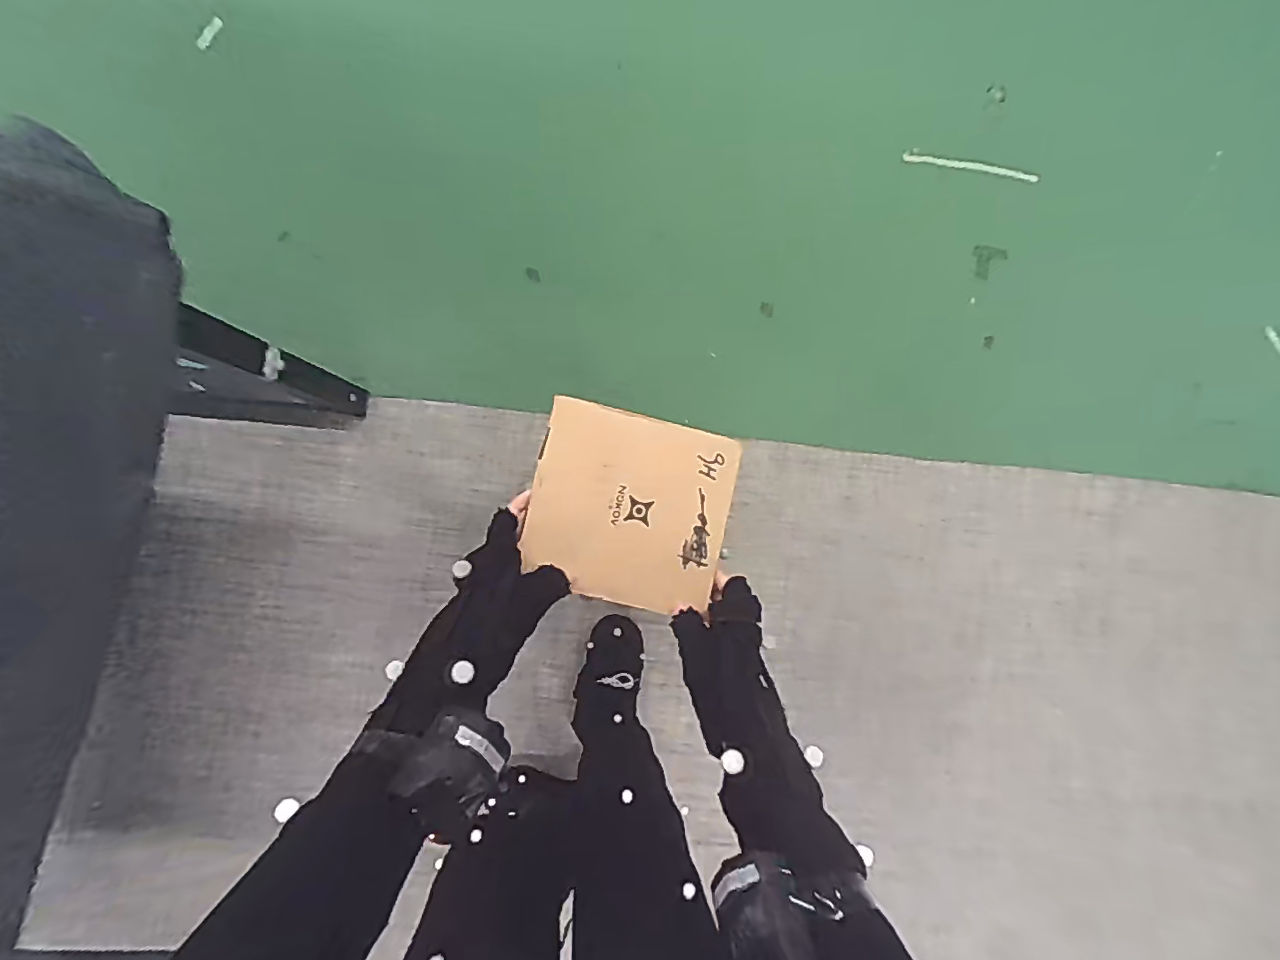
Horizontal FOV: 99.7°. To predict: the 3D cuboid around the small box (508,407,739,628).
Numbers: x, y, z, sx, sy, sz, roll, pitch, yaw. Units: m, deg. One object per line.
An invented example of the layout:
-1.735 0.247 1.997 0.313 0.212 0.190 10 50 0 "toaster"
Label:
-0.018 0.042 0.559 0.179 0.176 0.168 15 82 -3 "small box"
